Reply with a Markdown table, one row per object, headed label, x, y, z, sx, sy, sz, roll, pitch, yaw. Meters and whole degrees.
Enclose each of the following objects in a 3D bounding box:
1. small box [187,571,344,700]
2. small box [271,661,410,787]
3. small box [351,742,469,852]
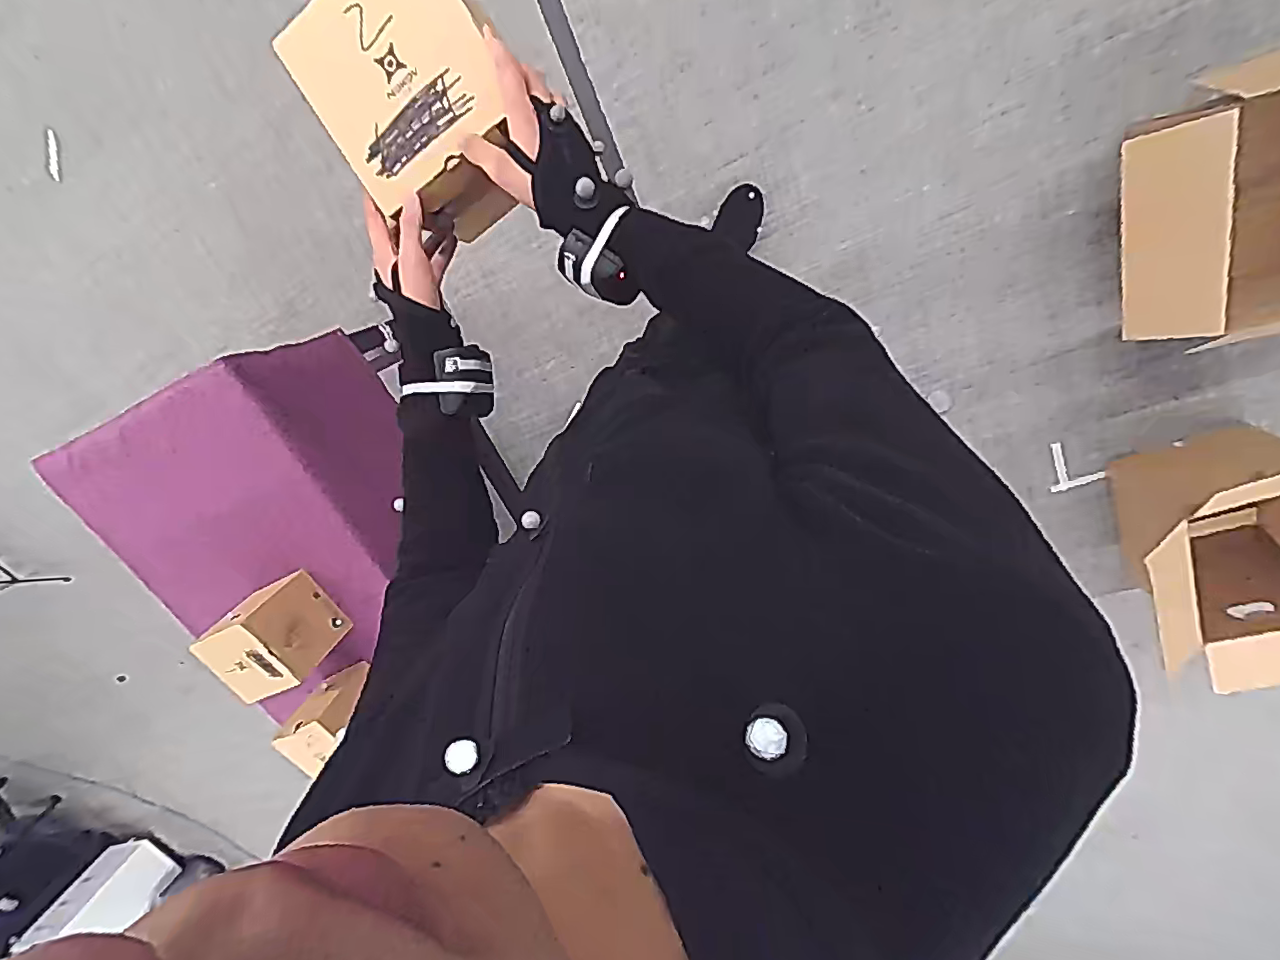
| label | x | y | z | sx | sy | sz | roll | pitch | yaw |
| --- | --- | --- | --- | --- | --- | --- | --- | --- | --- |
| small box | -0.751 | 0.314 | 1.111 | 0.179 | 0.176 | 0.168 | -23 | 110 | 21 |
| small box | -0.657 | 0.542 | 1.210 | 0.168 | 0.176 | 0.179 | -28 | 108 | 21 |
| small box | -0.538 | 0.756 | 1.299 | 0.179 | 0.176 | 0.168 | -14 | 113 | 17 |
